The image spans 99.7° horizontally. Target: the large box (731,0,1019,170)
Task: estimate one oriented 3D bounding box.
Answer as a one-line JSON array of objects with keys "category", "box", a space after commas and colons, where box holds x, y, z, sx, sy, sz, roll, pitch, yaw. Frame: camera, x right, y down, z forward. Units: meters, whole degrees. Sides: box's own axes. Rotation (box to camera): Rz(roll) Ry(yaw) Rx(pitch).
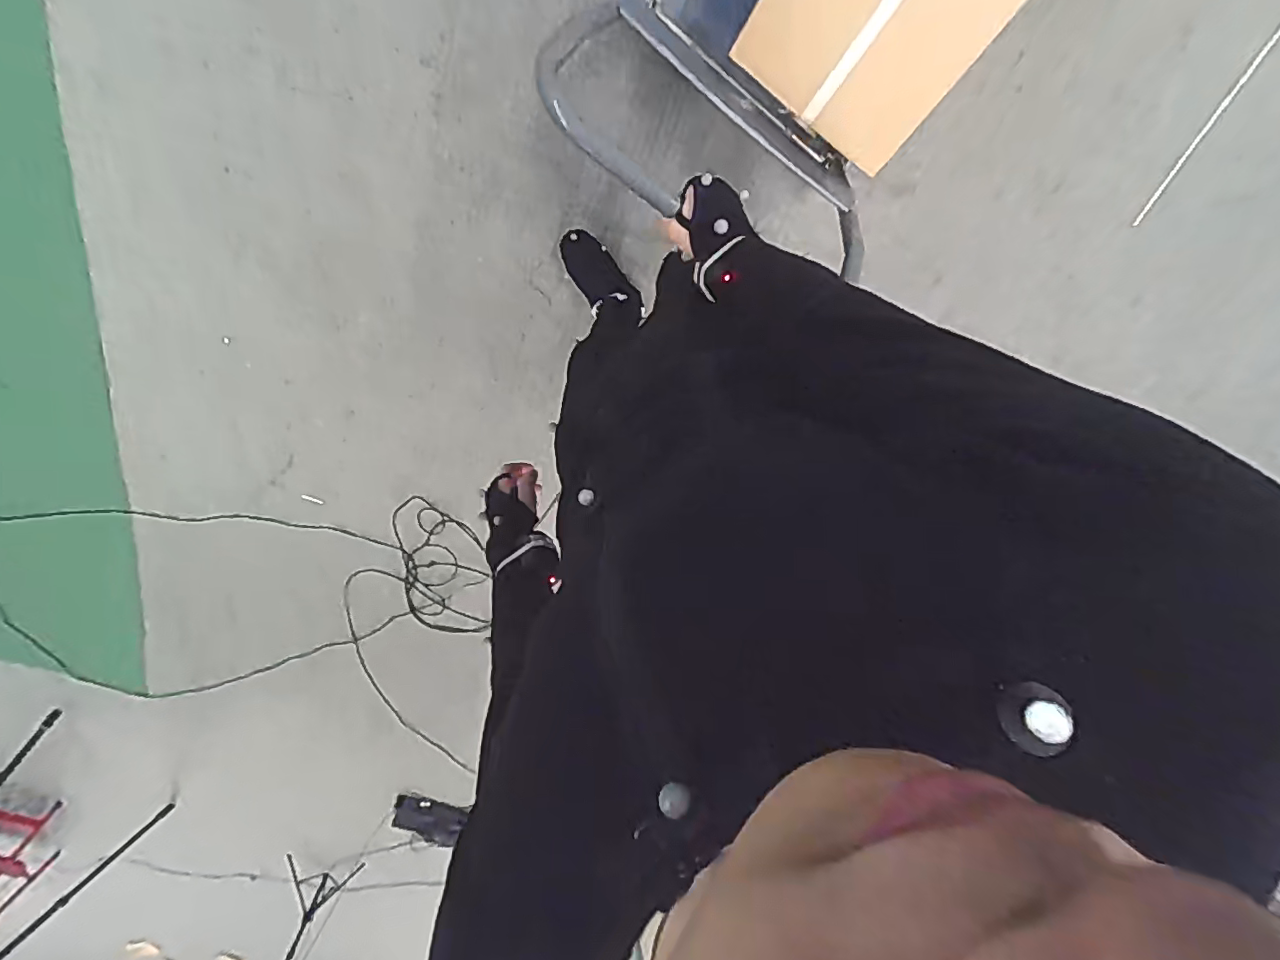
[{"category": "large box", "box": [0.391, -0.804, 0.862, 0.320, 0.320, 0.408, 31, 131, -16]}]
